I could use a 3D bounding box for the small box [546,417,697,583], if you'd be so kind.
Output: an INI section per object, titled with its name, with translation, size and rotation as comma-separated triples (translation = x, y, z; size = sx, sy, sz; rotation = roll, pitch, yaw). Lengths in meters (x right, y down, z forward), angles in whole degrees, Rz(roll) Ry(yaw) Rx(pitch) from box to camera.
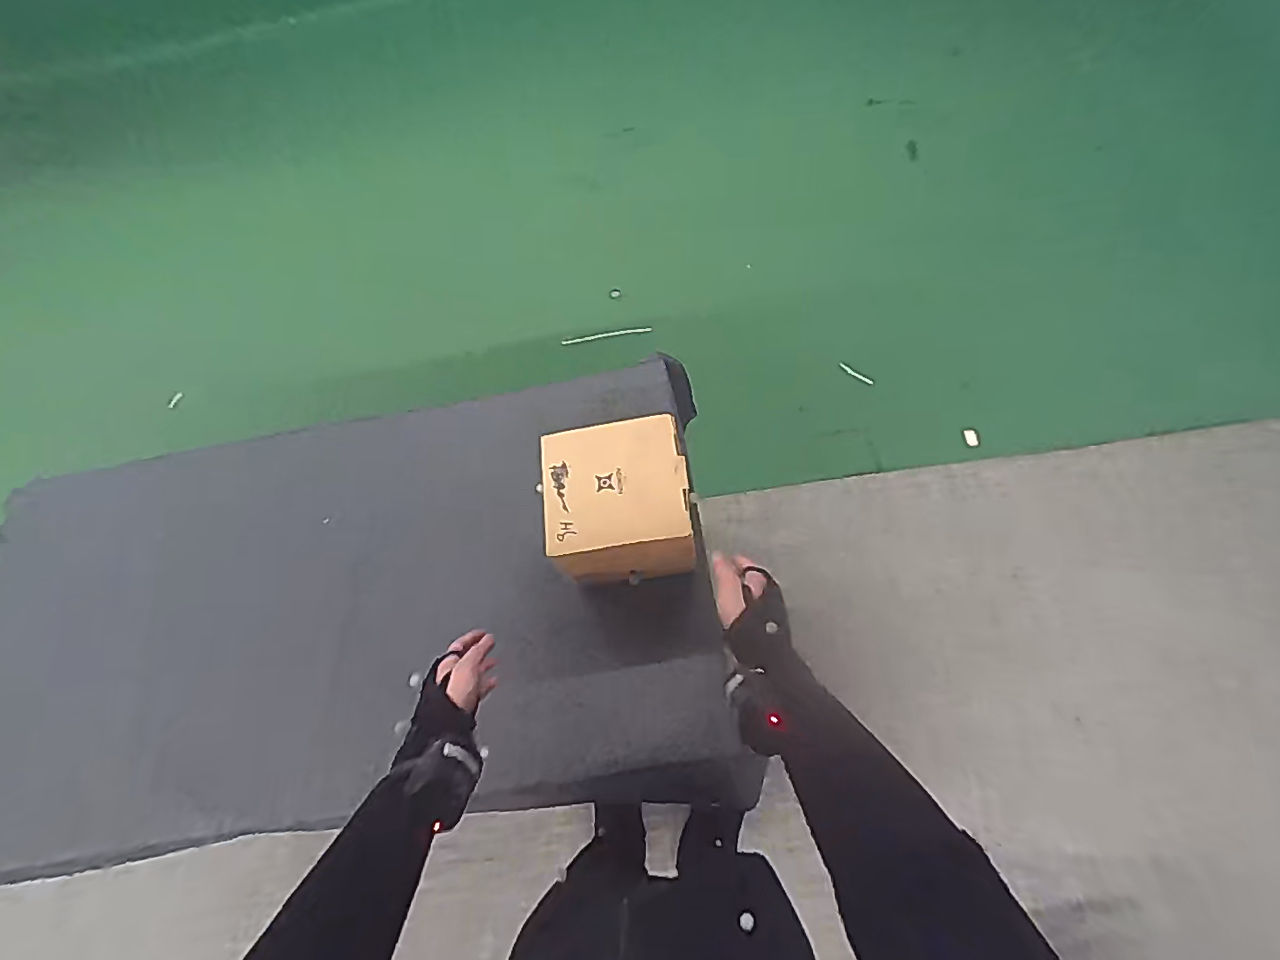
[small box]
translation = -0.021, 0.034, 0.726
size = 0.179, 0.176, 0.168
rotation = -7, 66, 2
